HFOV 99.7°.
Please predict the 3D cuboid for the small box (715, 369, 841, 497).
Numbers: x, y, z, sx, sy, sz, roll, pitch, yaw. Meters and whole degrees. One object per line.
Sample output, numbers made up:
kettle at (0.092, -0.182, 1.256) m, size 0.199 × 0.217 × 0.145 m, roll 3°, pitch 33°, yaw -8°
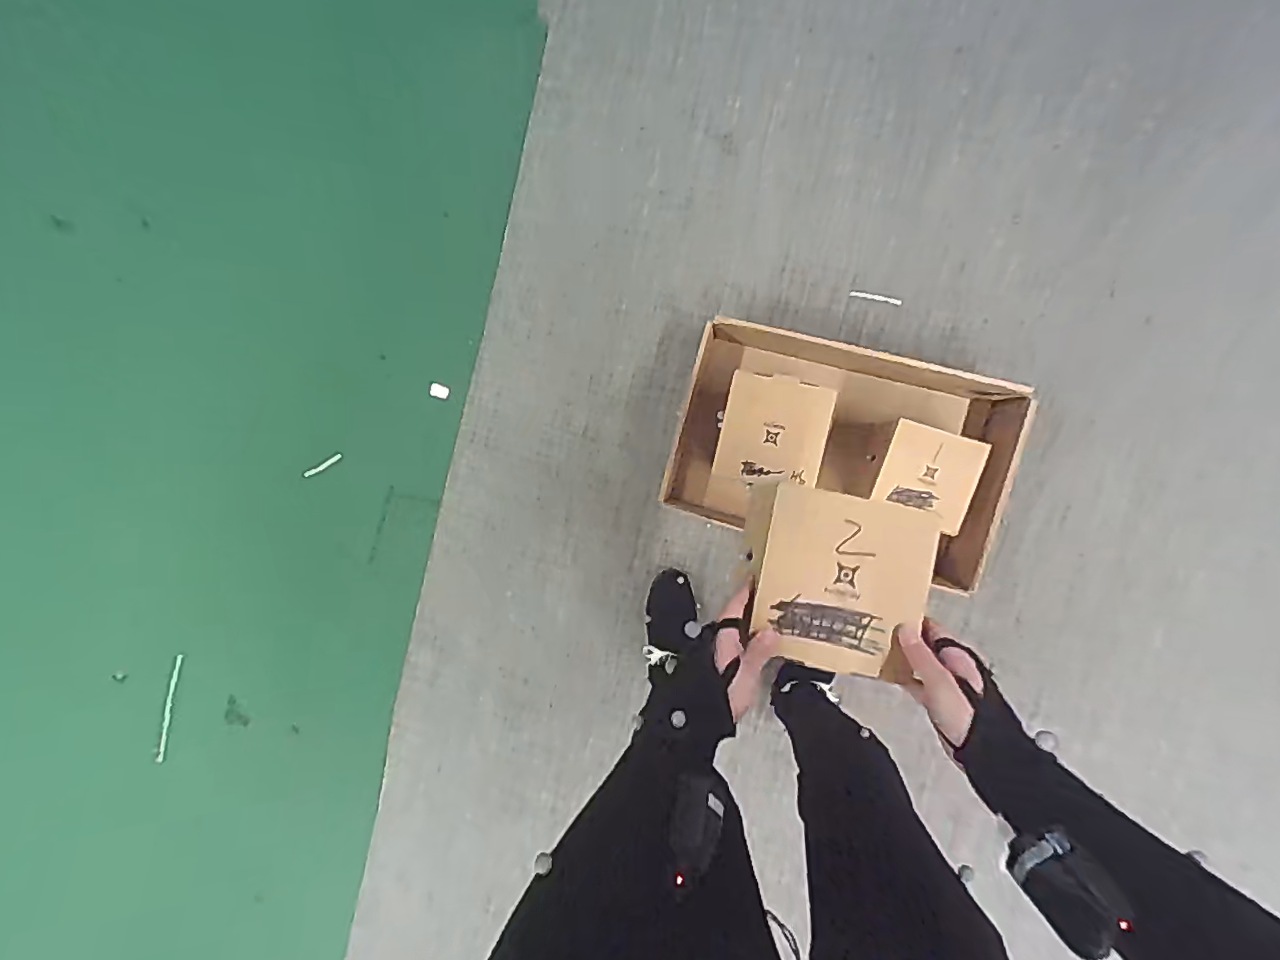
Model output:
small box at (0.227, -0.077, 0.934) m, size 0.168 × 0.176 × 0.179 m, roll 14°, pitch 93°, yaw 8°
